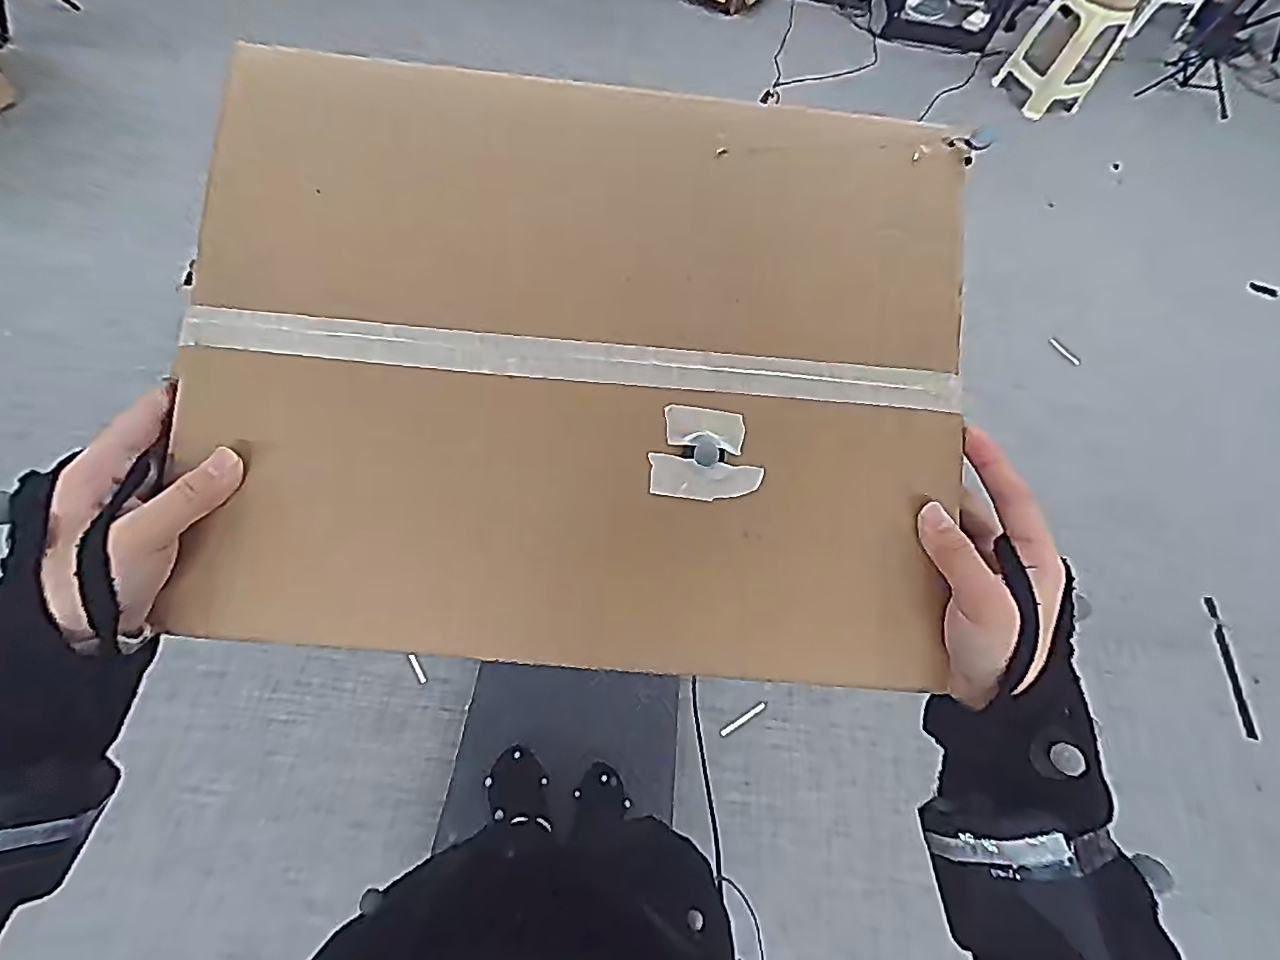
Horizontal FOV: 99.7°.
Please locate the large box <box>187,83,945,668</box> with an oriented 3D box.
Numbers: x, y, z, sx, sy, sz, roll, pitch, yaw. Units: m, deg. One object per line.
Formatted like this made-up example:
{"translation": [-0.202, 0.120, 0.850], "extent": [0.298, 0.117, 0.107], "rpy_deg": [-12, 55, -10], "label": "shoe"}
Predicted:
{"translation": [-0.035, -0.048, 0.448], "extent": [0.408, 0.320, 0.320], "rpy_deg": [5, 85, -2], "label": "large box"}
